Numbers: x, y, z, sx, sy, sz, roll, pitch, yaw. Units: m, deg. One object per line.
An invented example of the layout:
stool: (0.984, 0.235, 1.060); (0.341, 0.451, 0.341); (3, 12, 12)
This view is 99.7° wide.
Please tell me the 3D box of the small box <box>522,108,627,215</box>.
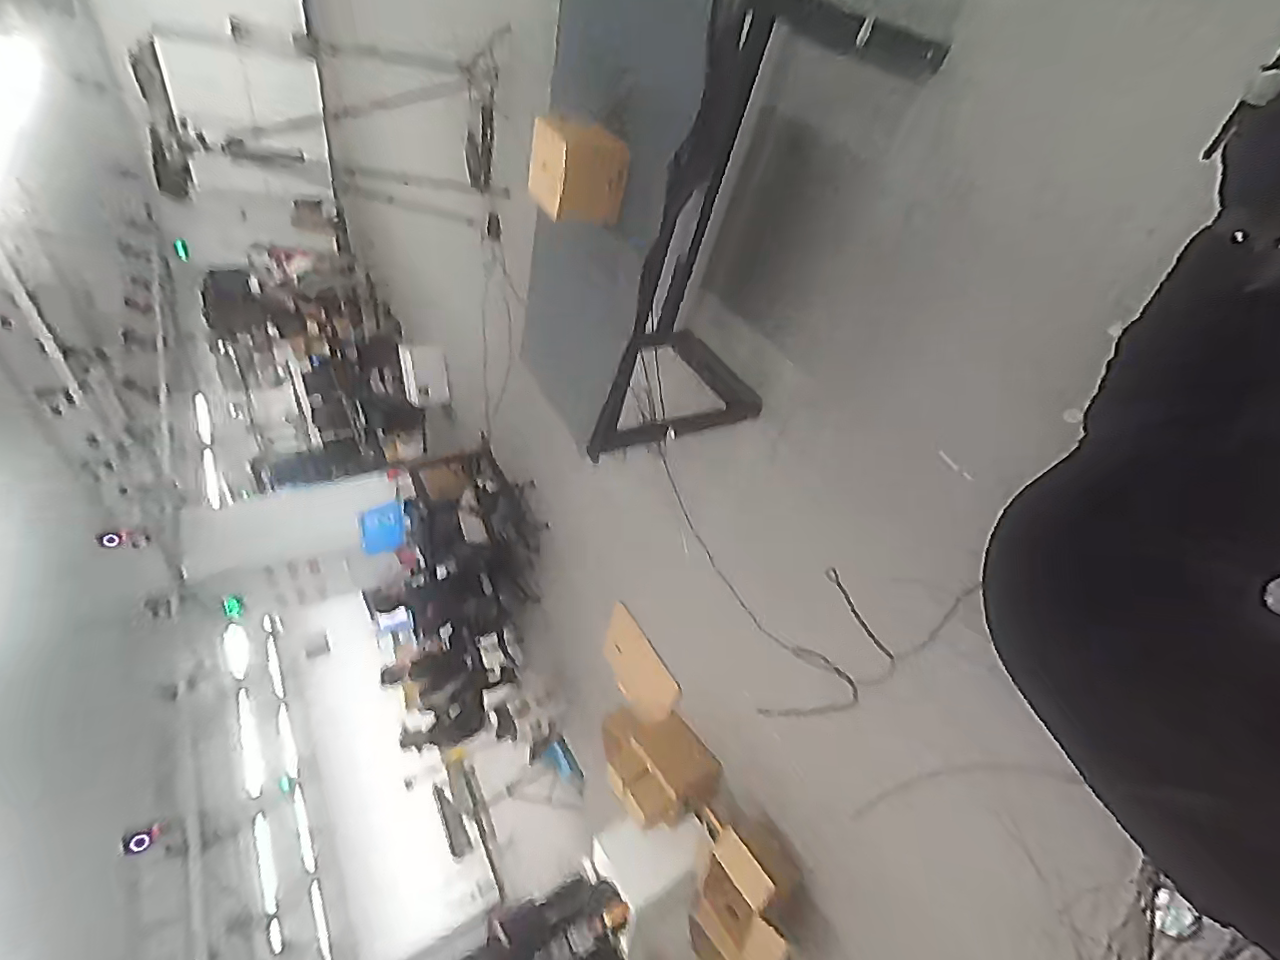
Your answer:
small box: (-0.157, -0.738, 1.268); (0.179, 0.176, 0.168); (54, 143, 29)
